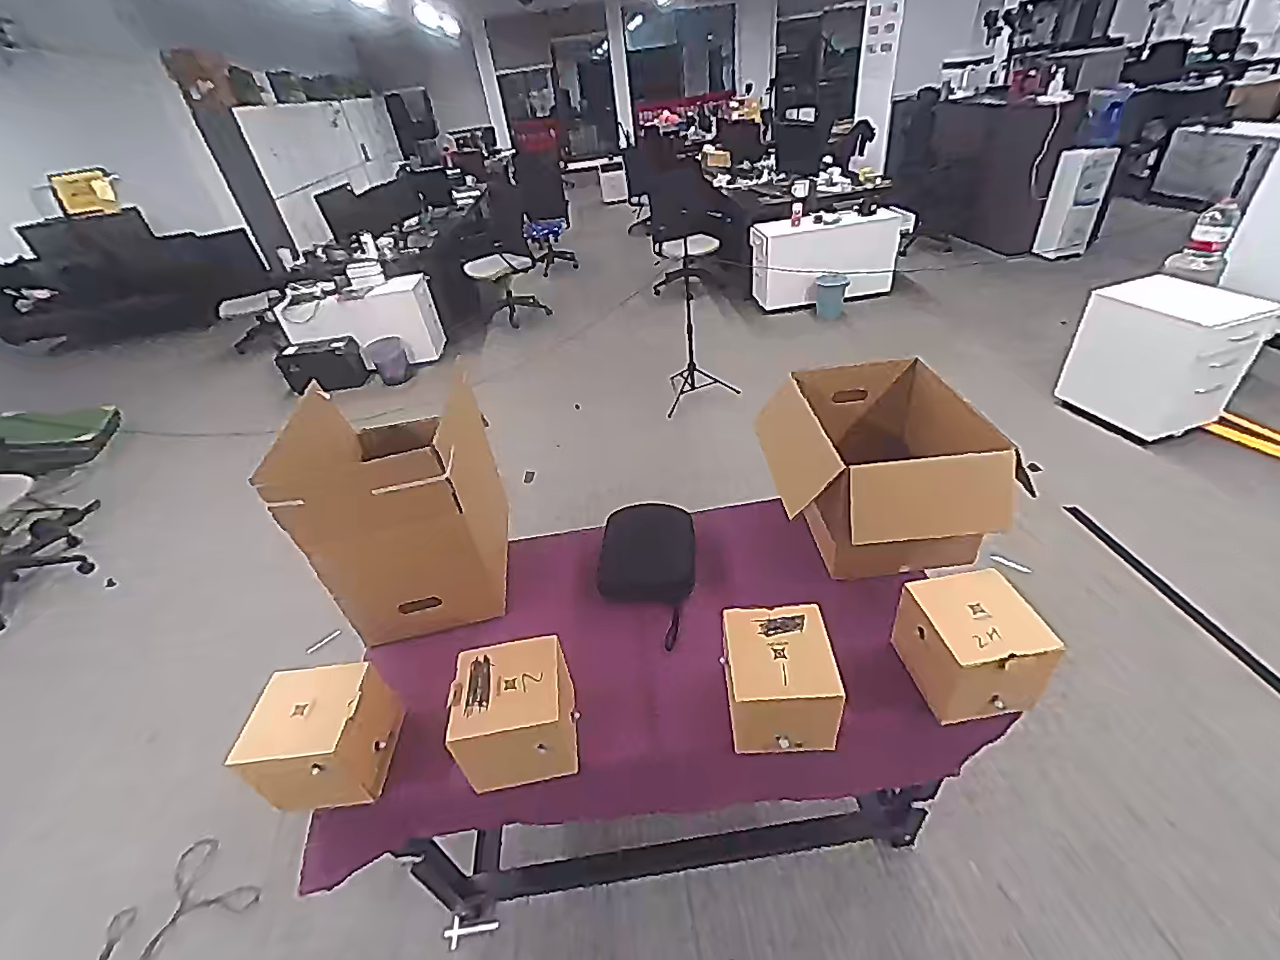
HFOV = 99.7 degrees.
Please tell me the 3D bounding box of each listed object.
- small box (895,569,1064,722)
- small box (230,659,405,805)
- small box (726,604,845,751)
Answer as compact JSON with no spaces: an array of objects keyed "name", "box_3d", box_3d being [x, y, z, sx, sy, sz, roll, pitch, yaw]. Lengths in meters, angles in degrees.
[{"name":"small box","box_3d":[0.564,0.282,0.930,0.168,0.176,0.179,-10,37,0]},{"name":"small box","box_3d":[-0.542,0.439,0.939,0.179,0.176,0.168,-6,37,0]},{"name":"small box","box_3d":[0.236,0.337,0.924,0.168,0.176,0.179,-5,38,5]}]
